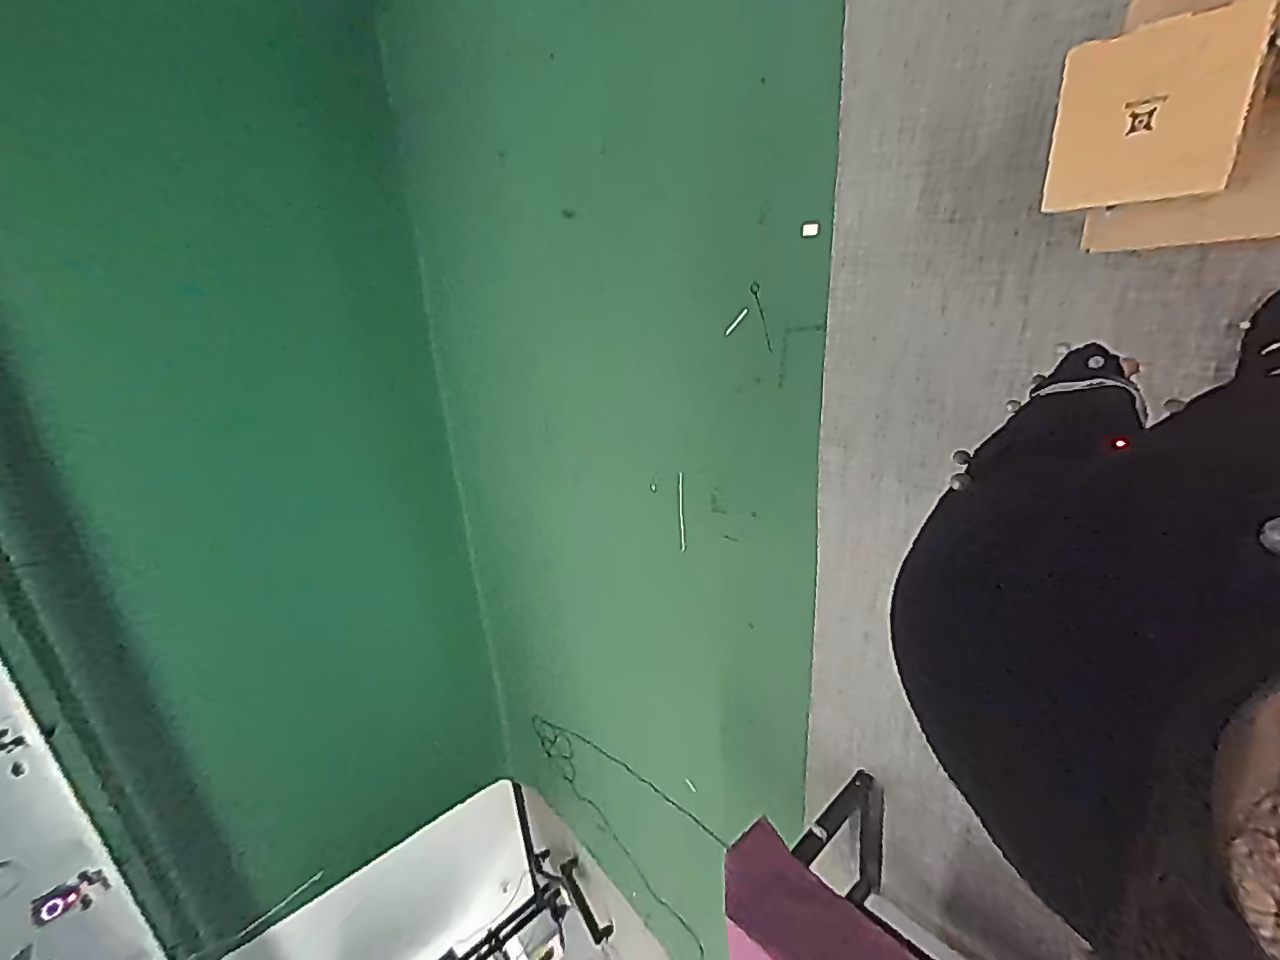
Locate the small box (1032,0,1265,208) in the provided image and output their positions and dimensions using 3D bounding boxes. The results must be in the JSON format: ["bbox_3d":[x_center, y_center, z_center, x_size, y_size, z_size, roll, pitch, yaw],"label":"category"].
[{"bbox_3d":[0.611,-0.435,0.654,0.168,0.176,0.179,18,120,44],"label":"small box"}]
